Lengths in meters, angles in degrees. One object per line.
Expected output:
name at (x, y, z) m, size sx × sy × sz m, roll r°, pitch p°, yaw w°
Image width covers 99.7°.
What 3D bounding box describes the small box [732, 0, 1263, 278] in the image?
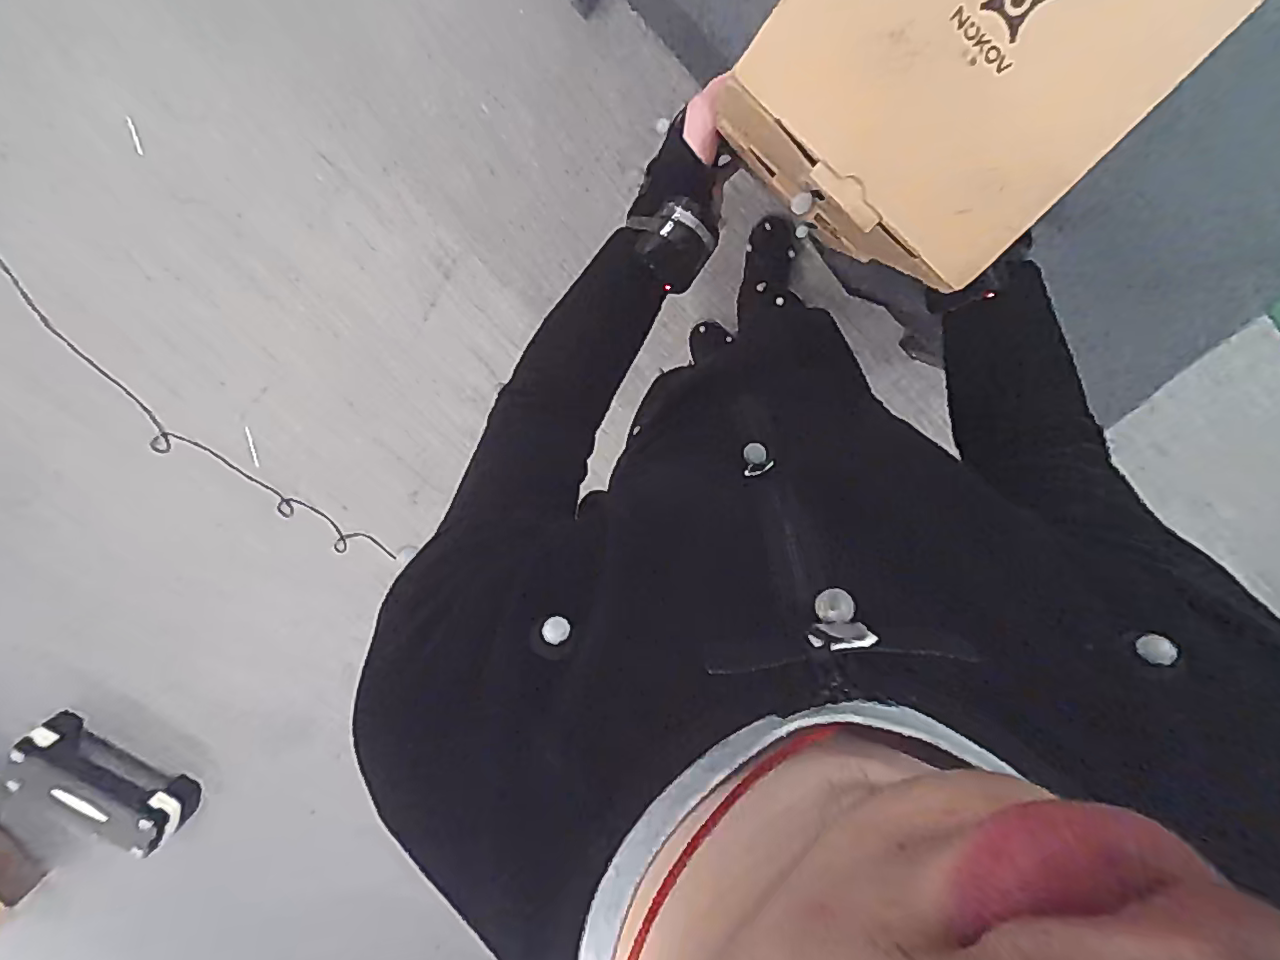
small box at (0.170, -0.250, 0.307) m, size 0.168 × 0.176 × 0.179 m, roll 36°, pitch 117°, yaw -14°
